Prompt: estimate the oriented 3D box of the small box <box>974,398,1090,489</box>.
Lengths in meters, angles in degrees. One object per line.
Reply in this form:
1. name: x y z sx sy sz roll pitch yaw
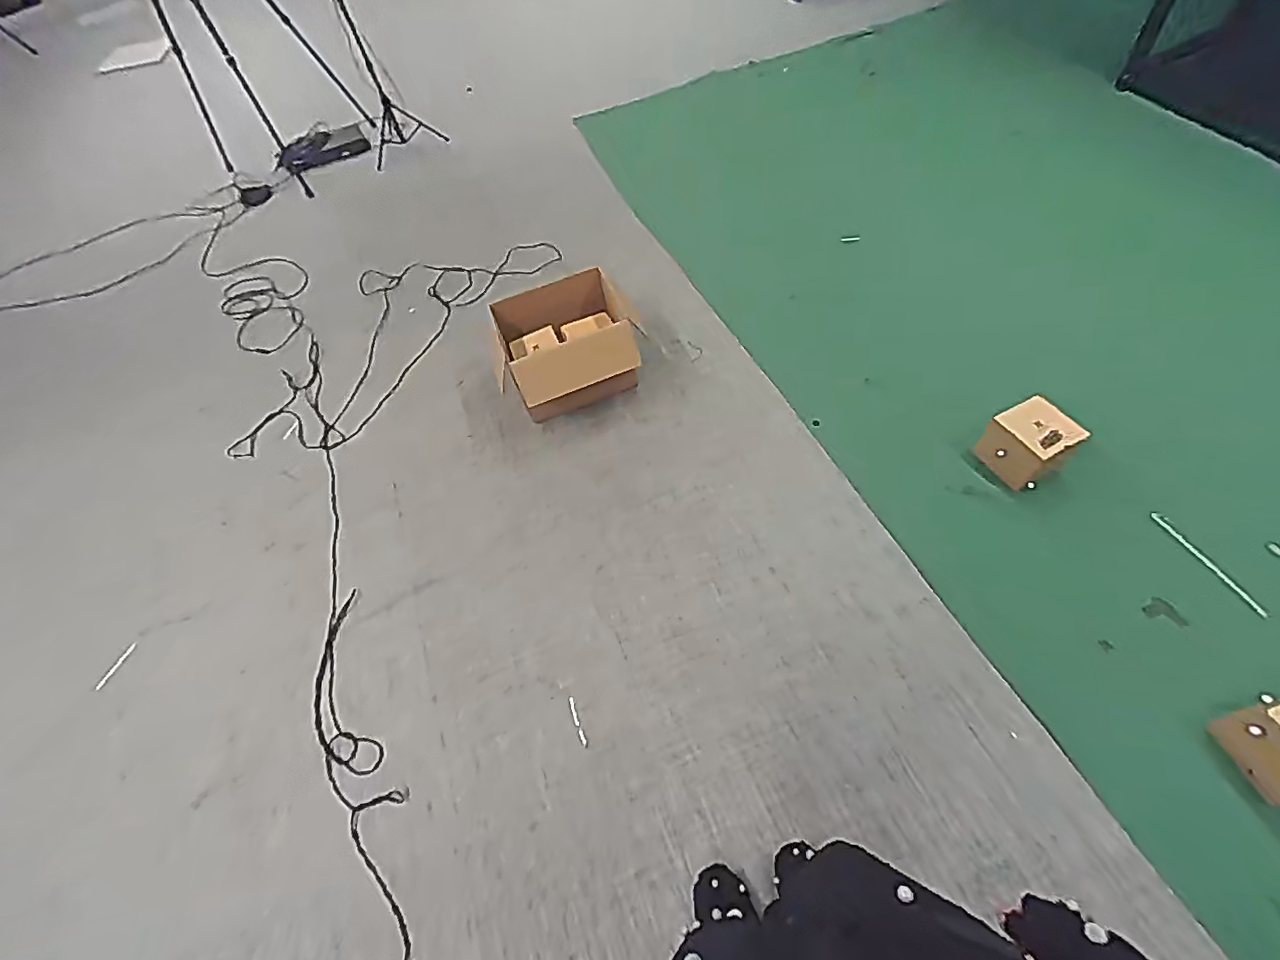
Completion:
1. small box: 1.114 -0.096 1.551 0.168 0.176 0.179 -25 56 -9
